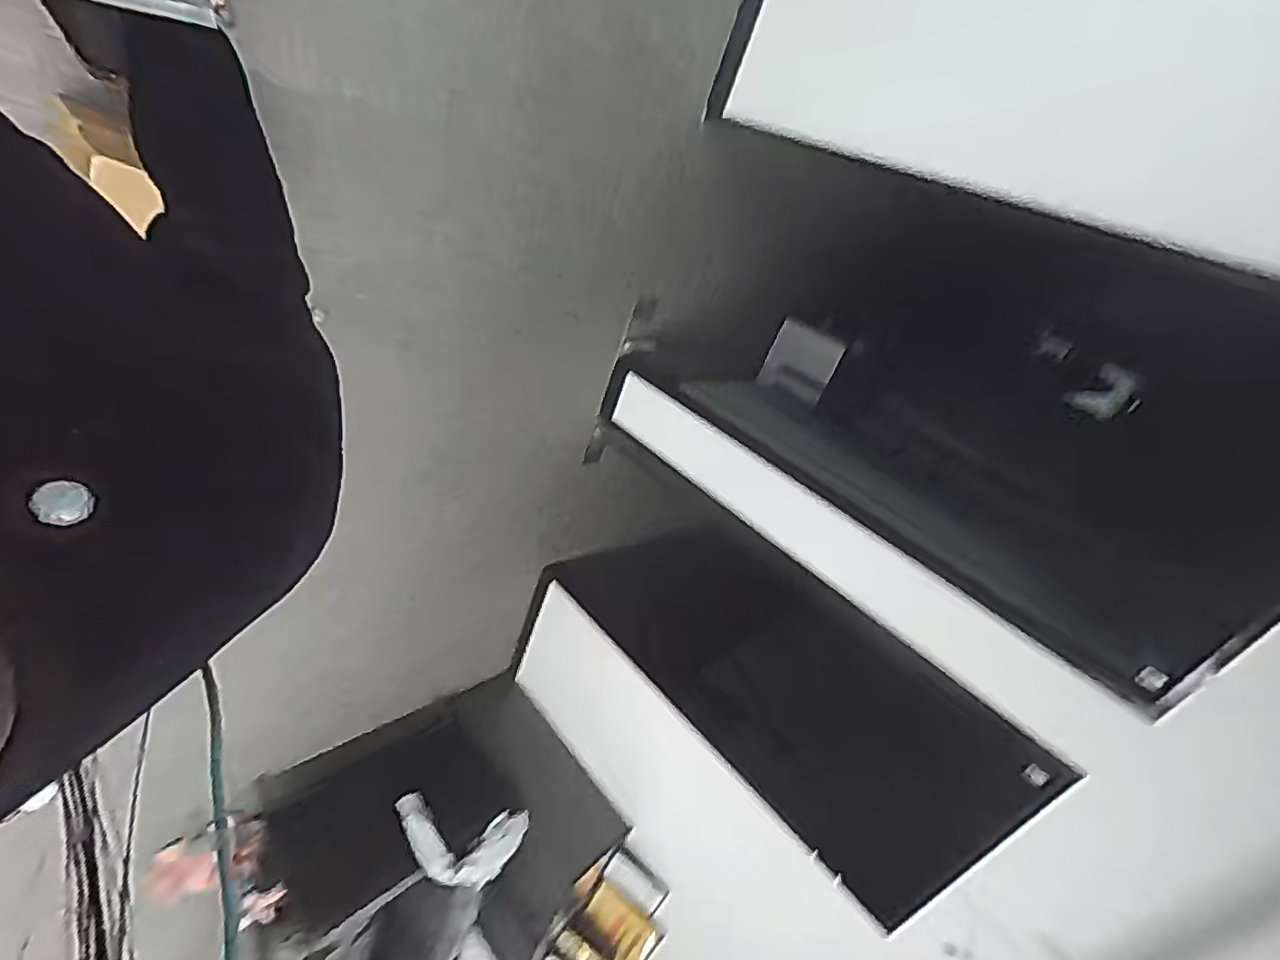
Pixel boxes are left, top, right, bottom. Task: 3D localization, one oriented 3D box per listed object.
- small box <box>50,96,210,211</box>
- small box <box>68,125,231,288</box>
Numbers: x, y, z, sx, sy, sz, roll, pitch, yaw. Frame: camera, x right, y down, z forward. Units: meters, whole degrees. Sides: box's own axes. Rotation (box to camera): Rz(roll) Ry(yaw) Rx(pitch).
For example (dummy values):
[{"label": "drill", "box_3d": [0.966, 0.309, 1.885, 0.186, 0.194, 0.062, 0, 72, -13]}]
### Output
[{"label": "small box", "box_3d": [-0.926, -0.559, 0.983, 0.179, 0.176, 0.168, 1, 122, -54]}, {"label": "small box", "box_3d": [-0.823, -0.456, 0.905, 0.168, 0.176, 0.179, 1, 122, -54]}]
